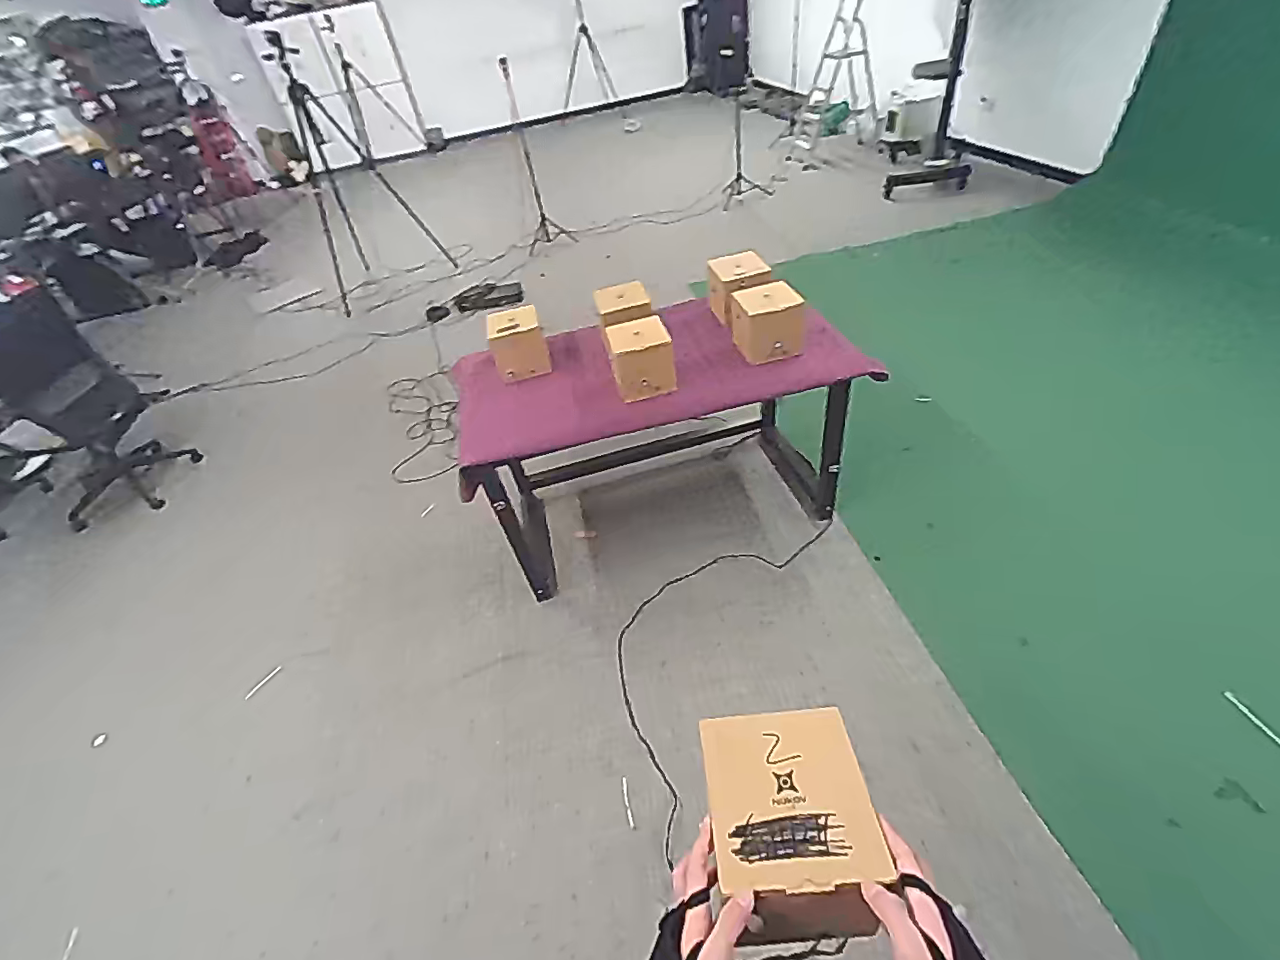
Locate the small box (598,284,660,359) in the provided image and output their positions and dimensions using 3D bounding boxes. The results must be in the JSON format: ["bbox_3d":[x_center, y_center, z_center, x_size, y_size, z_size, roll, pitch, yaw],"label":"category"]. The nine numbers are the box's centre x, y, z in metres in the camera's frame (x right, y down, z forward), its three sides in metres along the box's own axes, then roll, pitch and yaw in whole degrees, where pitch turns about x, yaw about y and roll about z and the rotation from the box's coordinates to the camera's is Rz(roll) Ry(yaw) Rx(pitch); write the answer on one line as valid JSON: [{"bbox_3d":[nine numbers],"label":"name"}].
[{"bbox_3d":[-0.037,-0.530,1.814,0.168,0.176,0.179,-14,43,-2],"label":"small box"}]

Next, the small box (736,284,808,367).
[{"bbox_3d":[0.398,-0.470,1.647,0.168,0.176,0.179,-14,41,-1],"label":"small box"}]

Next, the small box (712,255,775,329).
[{"bbox_3d":[0.350,-0.639,1.842,0.168,0.176,0.179,-15,43,-3],"label":"small box"}]

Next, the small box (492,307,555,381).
[{"bbox_3d":[-0.385,-0.446,1.796,0.168,0.176,0.179,-14,42,-4],"label":"small box"}]
